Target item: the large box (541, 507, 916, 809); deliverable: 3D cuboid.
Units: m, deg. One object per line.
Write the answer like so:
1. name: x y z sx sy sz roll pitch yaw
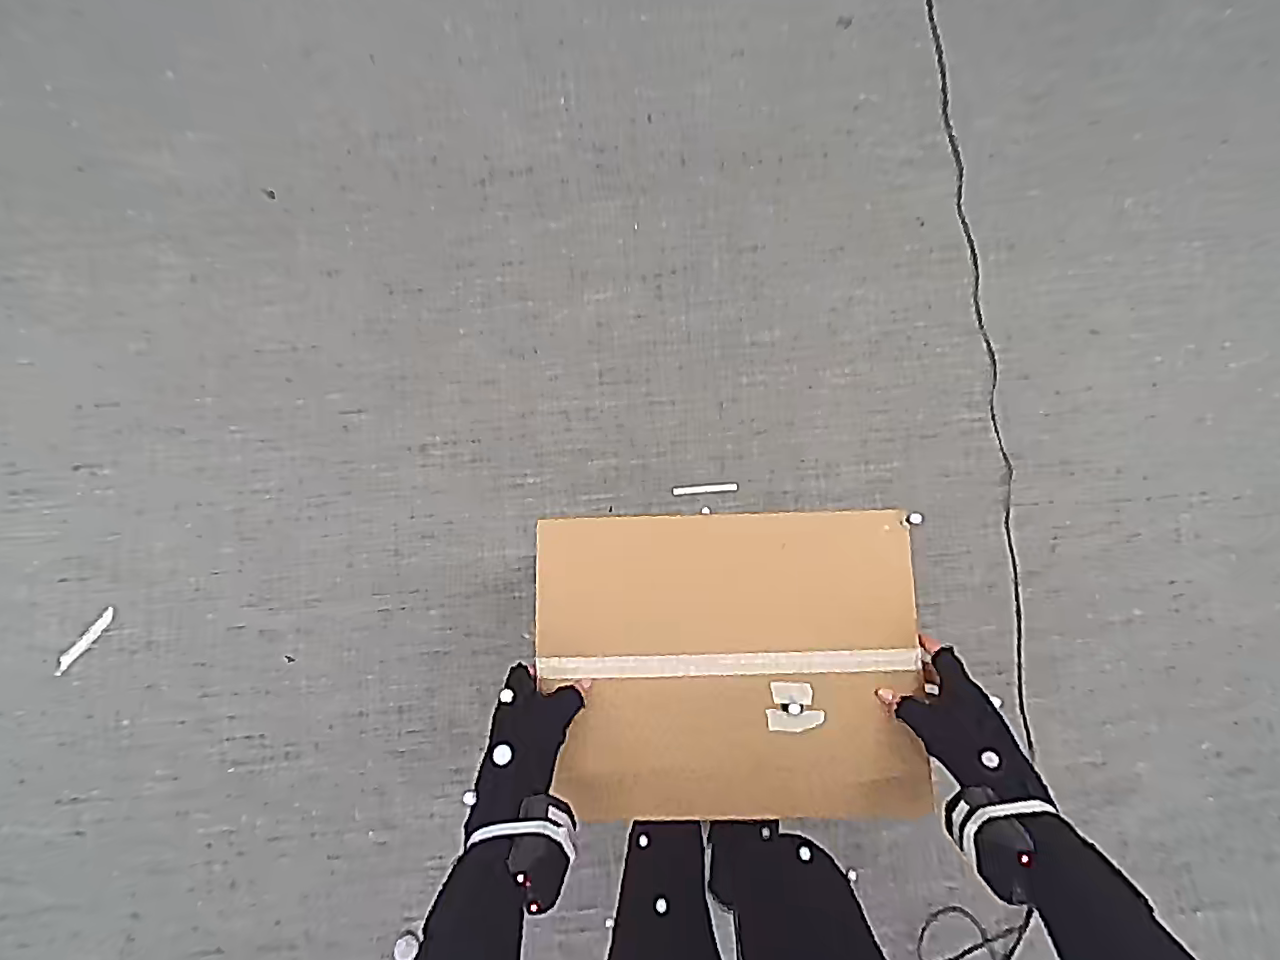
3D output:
1. large box: 0.093 0.212 0.745 0.408 0.320 0.320 -2 84 1
